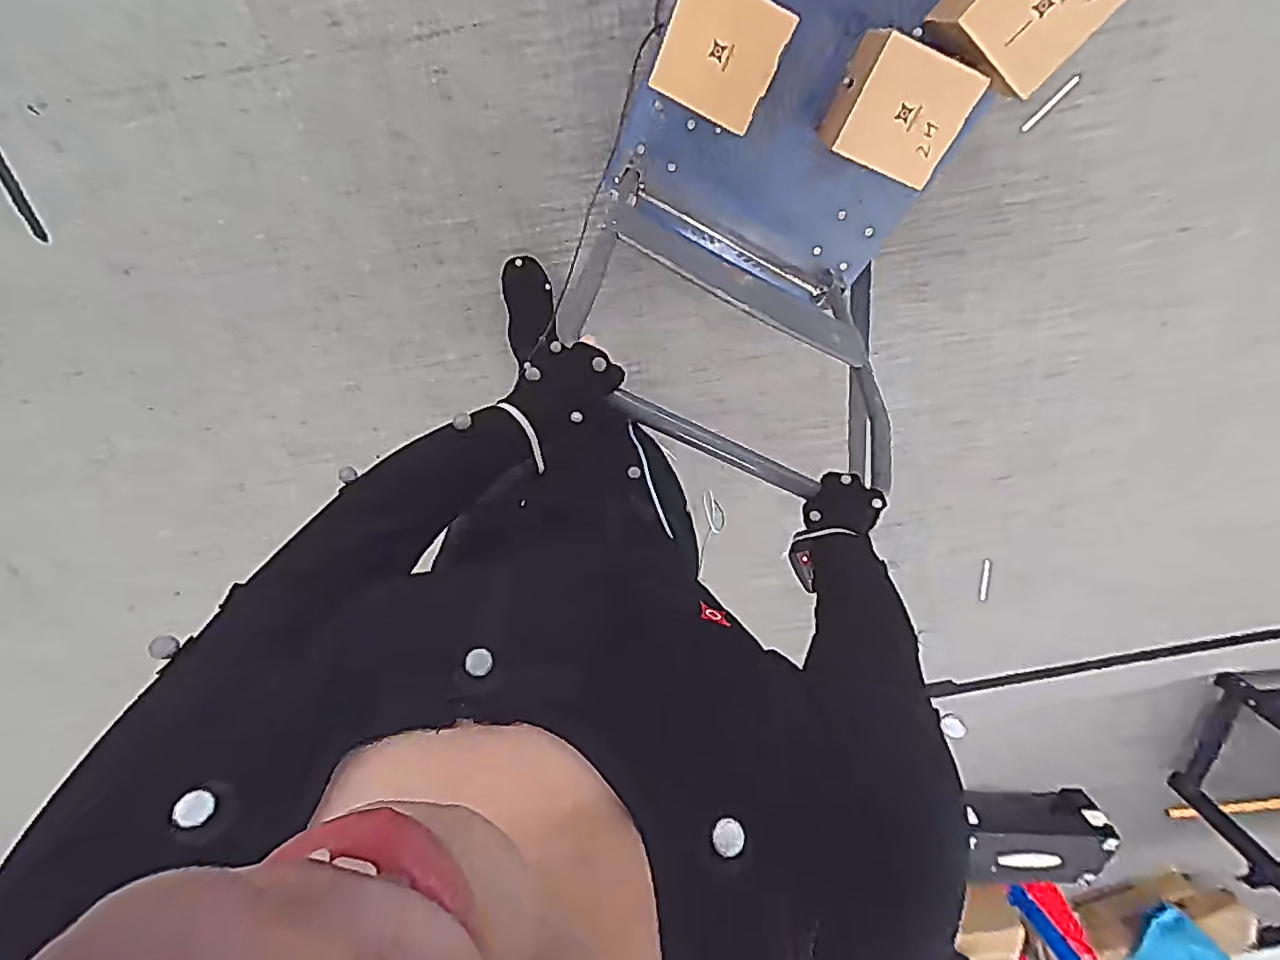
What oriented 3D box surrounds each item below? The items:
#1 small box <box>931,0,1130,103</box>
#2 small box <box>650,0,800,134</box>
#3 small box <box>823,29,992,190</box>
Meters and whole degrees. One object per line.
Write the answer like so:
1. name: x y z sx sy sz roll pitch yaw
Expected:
1. small box: 0.582 -0.718 0.813 0.168 0.176 0.179 32 127 -18
2. small box: 0.131 -0.703 0.883 0.179 0.176 0.168 20 129 -12
3. small box: 0.432 -0.623 0.912 0.179 0.176 0.168 19 130 -9
